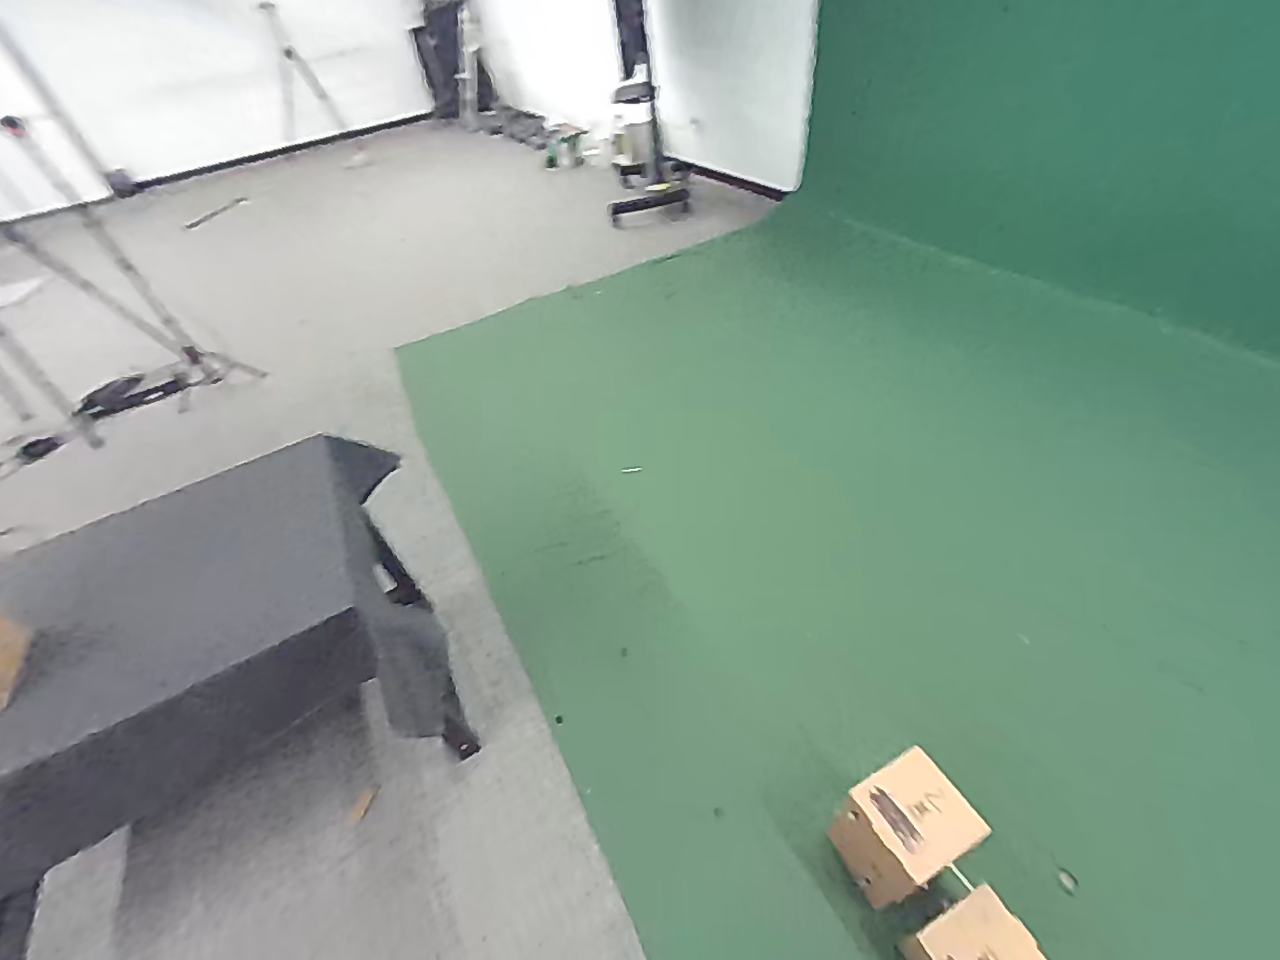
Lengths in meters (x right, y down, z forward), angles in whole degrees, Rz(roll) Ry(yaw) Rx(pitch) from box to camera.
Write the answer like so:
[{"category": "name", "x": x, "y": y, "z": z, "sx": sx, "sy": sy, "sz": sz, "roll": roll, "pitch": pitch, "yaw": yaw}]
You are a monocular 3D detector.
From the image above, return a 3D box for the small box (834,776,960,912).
[{"category": "small box", "x": 0.533, "y": 0.776, "z": 1.150, "sx": 0.179, "sy": 0.176, "sz": 0.168, "roll": -22, "pitch": 45, "yaw": -12}]
